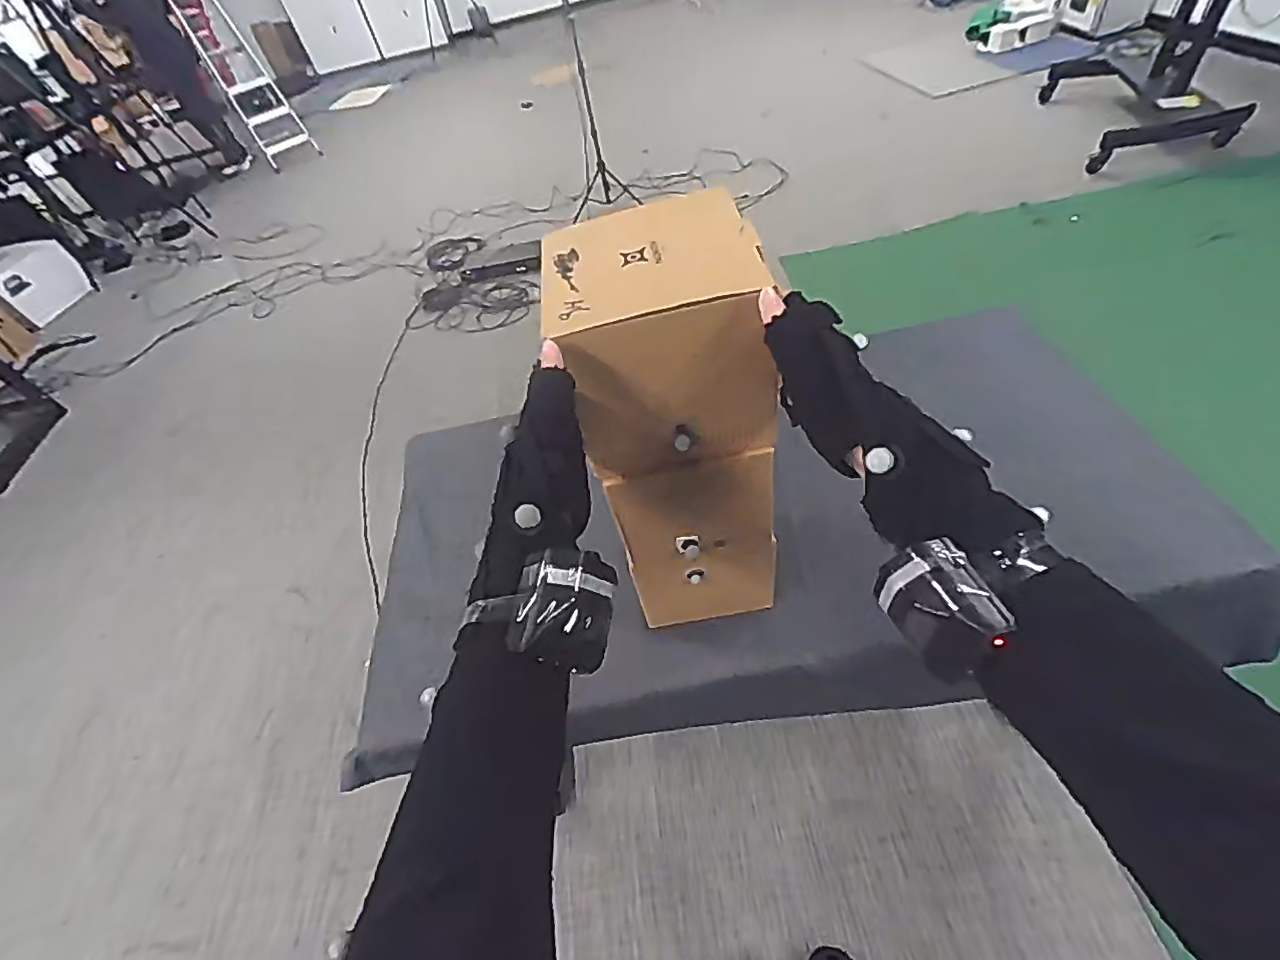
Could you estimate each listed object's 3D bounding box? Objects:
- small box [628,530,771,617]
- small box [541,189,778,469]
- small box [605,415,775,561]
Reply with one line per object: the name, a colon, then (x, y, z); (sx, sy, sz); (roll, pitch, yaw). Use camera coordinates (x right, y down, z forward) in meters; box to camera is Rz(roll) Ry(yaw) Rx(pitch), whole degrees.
small box: (0.081, 0.078, 0.764); (0.179, 0.176, 0.168); (-11, 51, 3)
small box: (0.018, -0.133, 0.499); (0.179, 0.176, 0.168); (-11, 49, 3)
small box: (0.052, -0.032, 0.627); (0.168, 0.176, 0.179); (-13, 51, 4)
